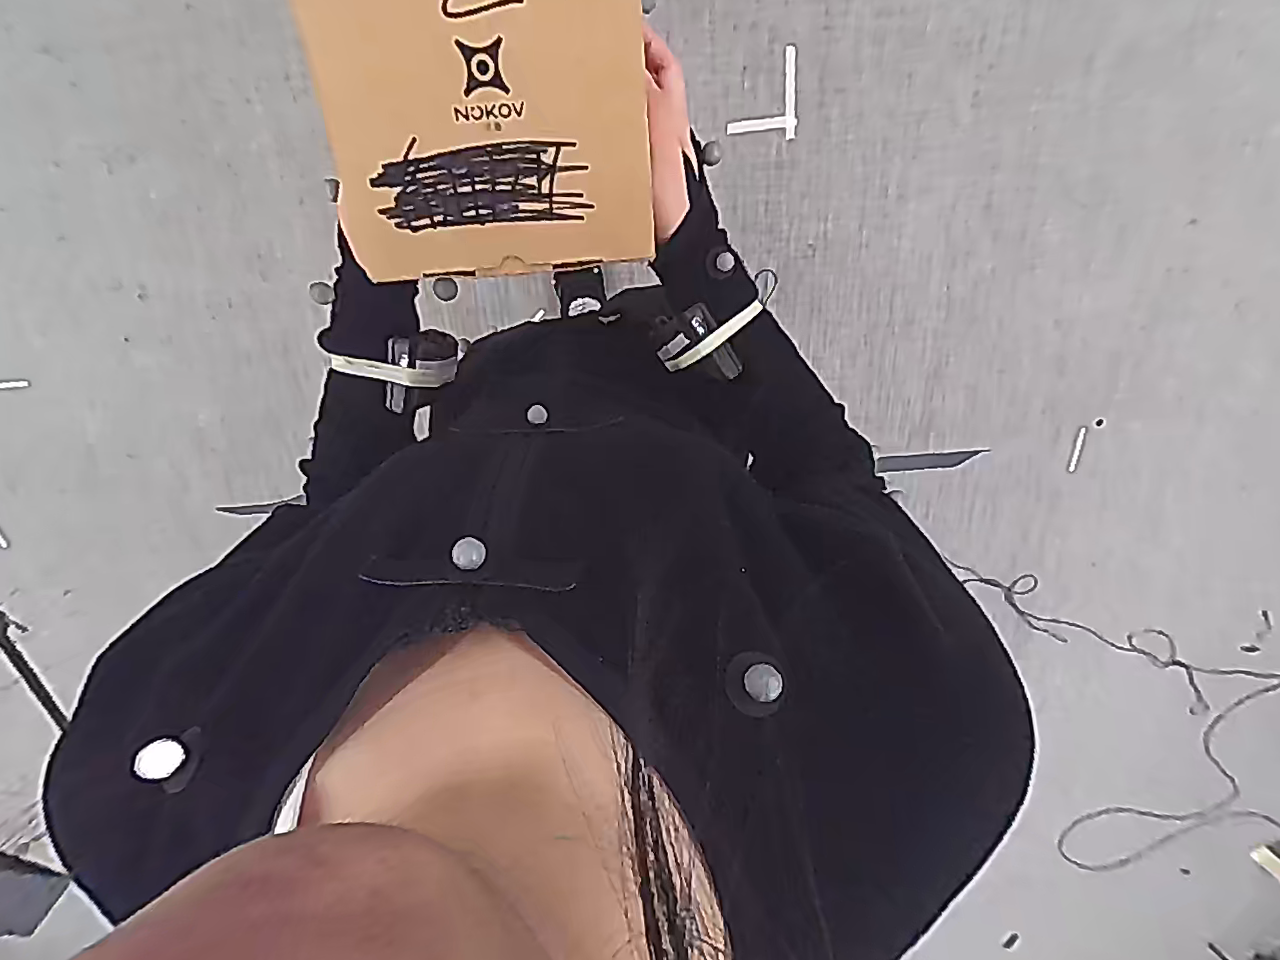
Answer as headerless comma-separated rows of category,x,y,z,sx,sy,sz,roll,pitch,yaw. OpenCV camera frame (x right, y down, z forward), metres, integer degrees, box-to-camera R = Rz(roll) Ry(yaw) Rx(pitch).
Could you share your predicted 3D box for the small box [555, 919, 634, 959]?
small box,-0.094,1.077,1.146,0.168,0.176,0.179,-3,114,-4
